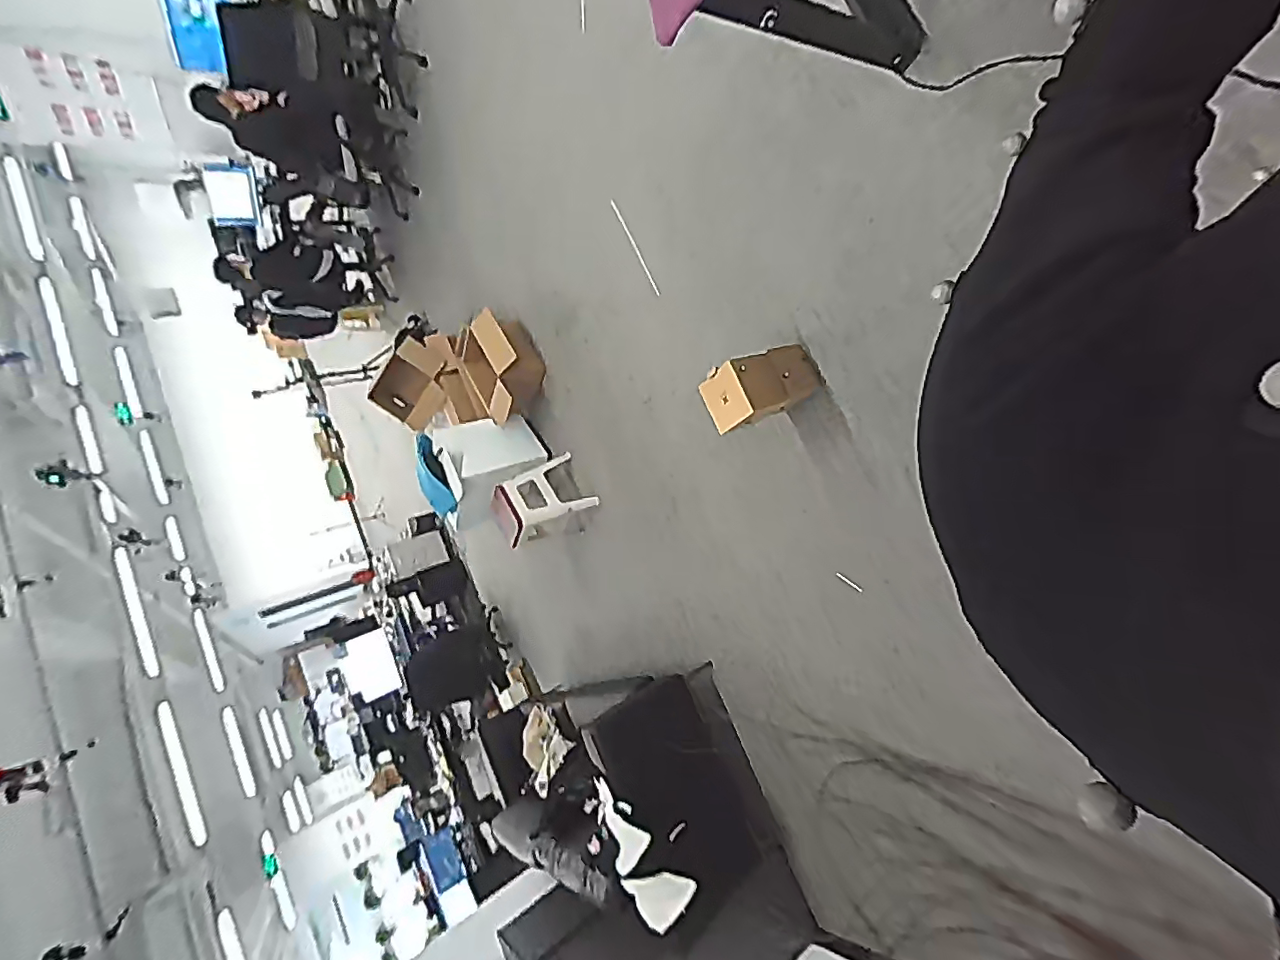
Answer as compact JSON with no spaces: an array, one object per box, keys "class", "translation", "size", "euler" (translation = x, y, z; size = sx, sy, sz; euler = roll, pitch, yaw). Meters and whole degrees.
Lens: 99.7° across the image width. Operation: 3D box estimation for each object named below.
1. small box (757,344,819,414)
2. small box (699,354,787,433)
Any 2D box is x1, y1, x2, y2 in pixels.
[{"class":"small box","translation":[0.445,-0.322,1.760],"size":[0.179,0.176,0.168],"euler":[-37,74,55]},{"class":"small box","translation":[0.320,-0.269,1.668],"size":[0.168,0.176,0.179],"euler":[-37,74,54]}]
